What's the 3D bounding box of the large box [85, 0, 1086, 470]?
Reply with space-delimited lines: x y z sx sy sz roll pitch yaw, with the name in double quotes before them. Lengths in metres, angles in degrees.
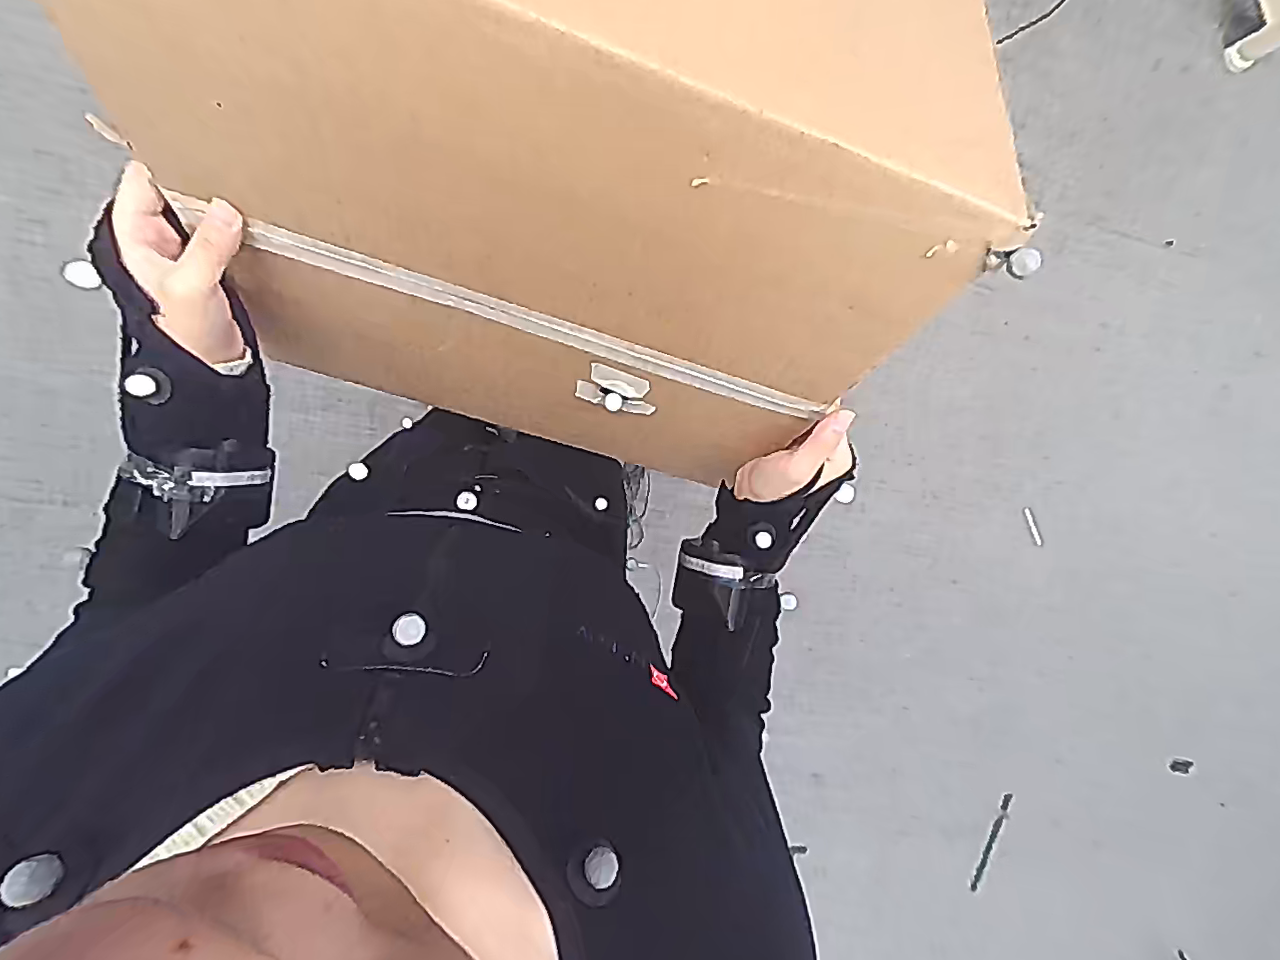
"large box" -0.029 -0.248 0.375 0.408 0.320 0.320 15 66 -10
